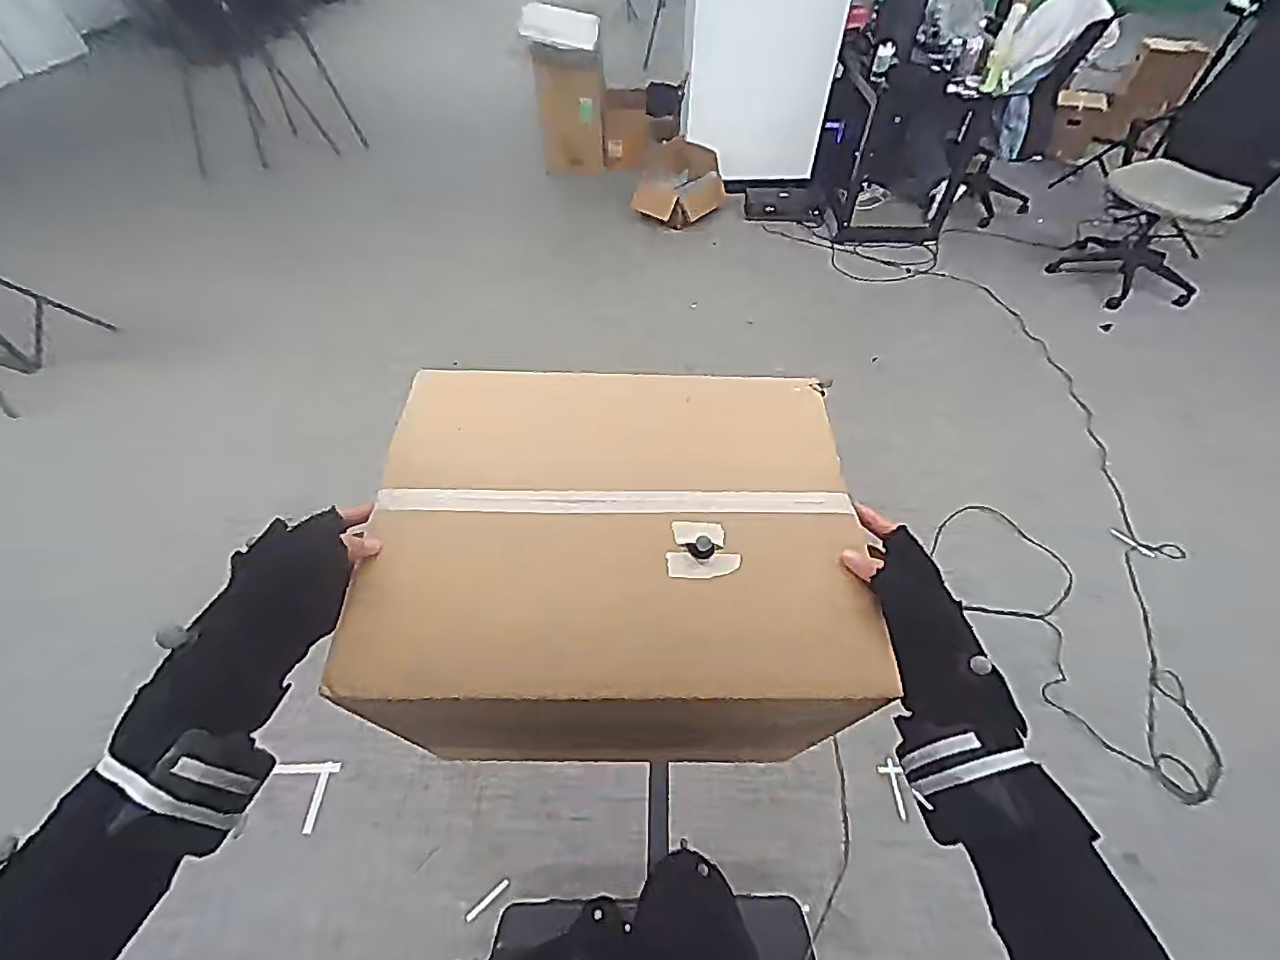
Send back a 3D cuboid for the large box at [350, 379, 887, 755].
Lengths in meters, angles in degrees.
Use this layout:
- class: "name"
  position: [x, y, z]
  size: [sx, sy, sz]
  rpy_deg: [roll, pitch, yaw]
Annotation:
- class: "large box"
  position: [-0.022, 0.108, 0.599]
  size: [0.408, 0.320, 0.320]
  rpy_deg: [1, 56, -3]
